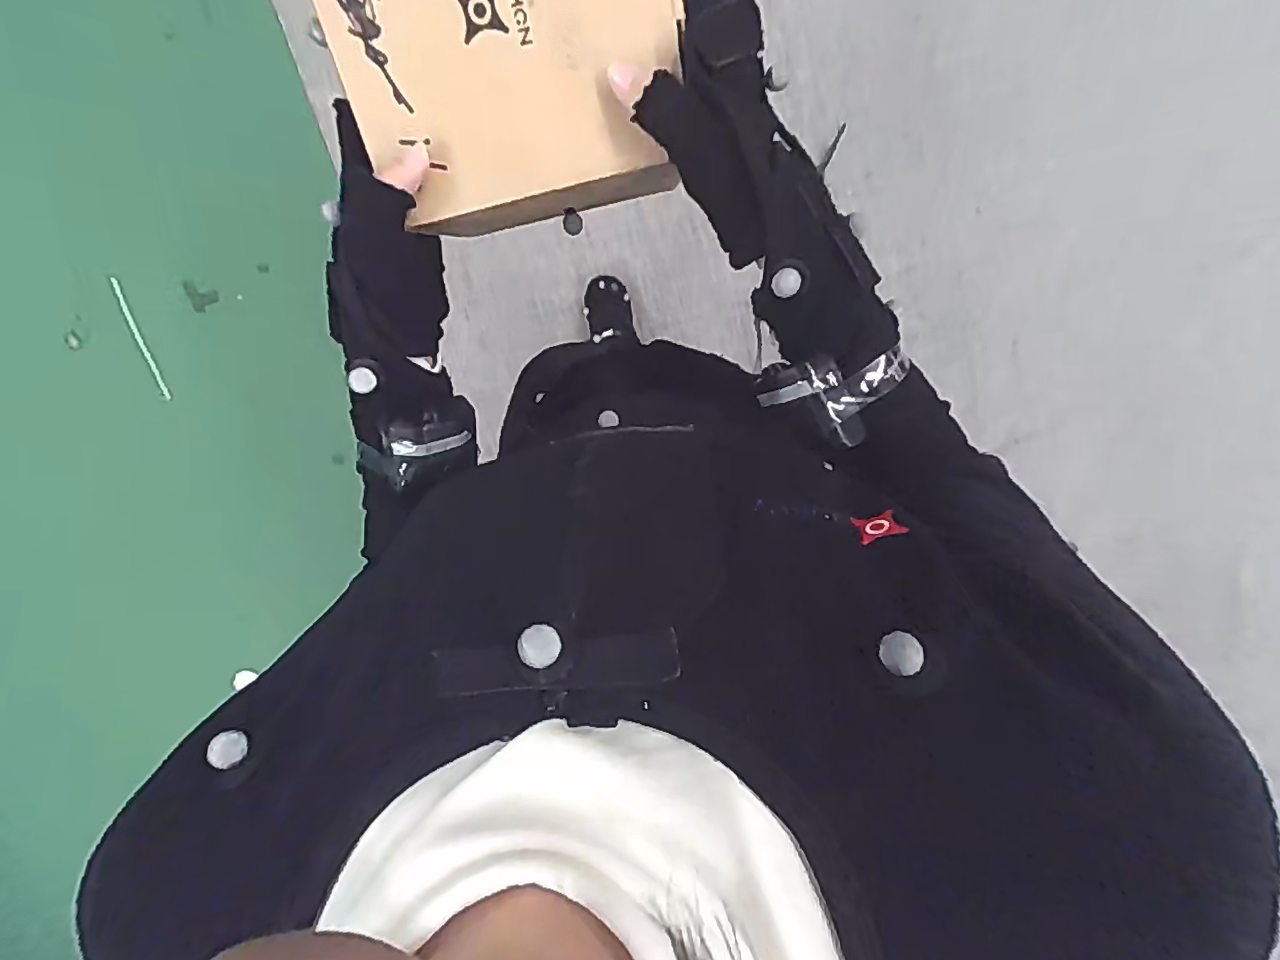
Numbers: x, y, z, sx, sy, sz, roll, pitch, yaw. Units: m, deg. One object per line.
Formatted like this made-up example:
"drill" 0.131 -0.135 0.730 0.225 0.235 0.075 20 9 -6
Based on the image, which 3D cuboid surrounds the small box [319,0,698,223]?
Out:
"small box" -0.072 -0.269 0.337 0.179 0.176 0.168 -12 112 3
